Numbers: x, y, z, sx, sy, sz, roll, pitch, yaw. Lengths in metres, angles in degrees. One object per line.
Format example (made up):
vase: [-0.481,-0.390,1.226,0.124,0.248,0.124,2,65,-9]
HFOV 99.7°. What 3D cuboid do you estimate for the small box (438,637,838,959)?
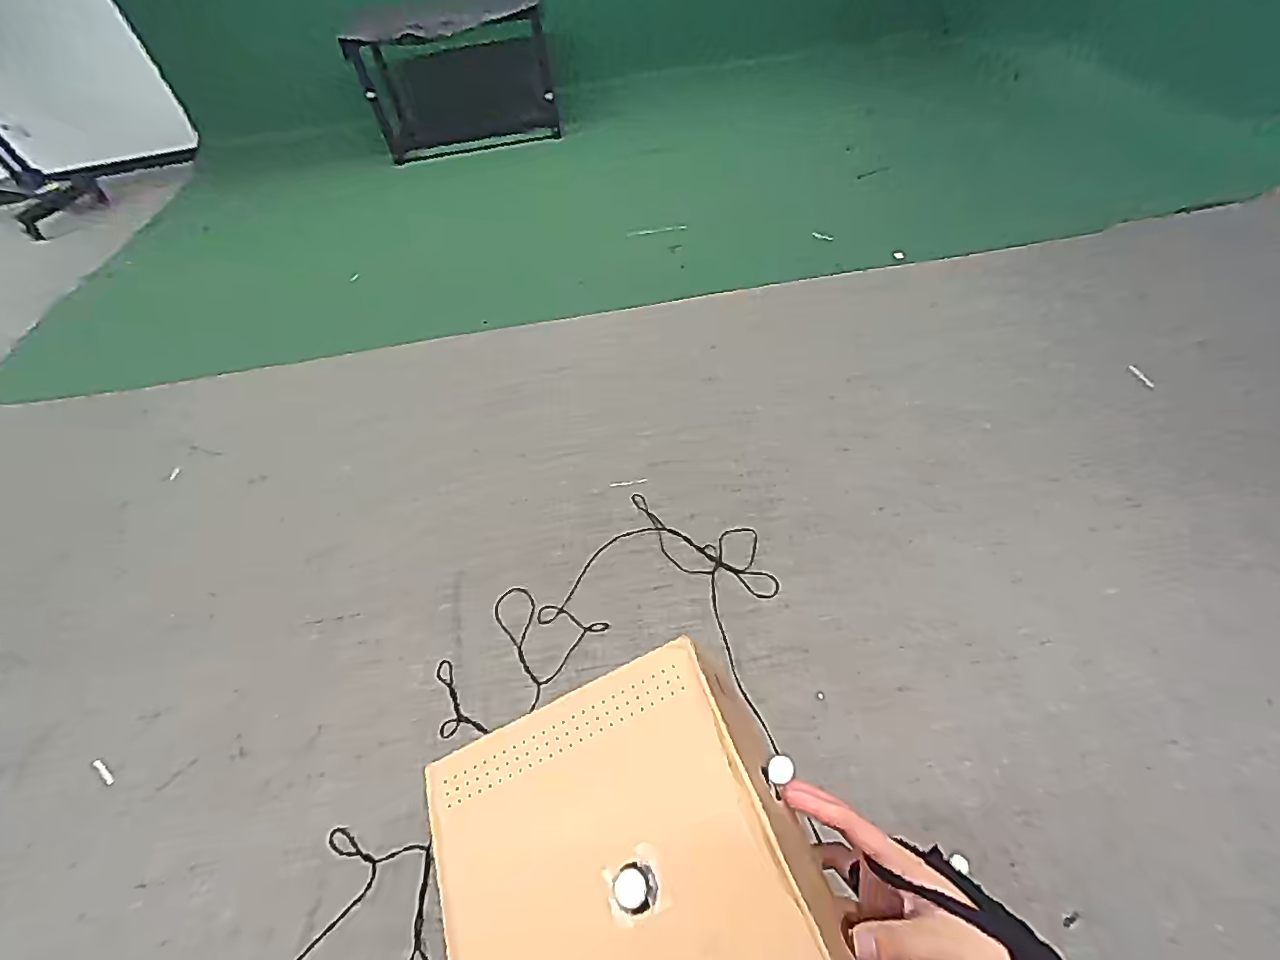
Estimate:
small box: [0.000,0.224,0.341,0.179,0.168,0.176,-29,54,2]
